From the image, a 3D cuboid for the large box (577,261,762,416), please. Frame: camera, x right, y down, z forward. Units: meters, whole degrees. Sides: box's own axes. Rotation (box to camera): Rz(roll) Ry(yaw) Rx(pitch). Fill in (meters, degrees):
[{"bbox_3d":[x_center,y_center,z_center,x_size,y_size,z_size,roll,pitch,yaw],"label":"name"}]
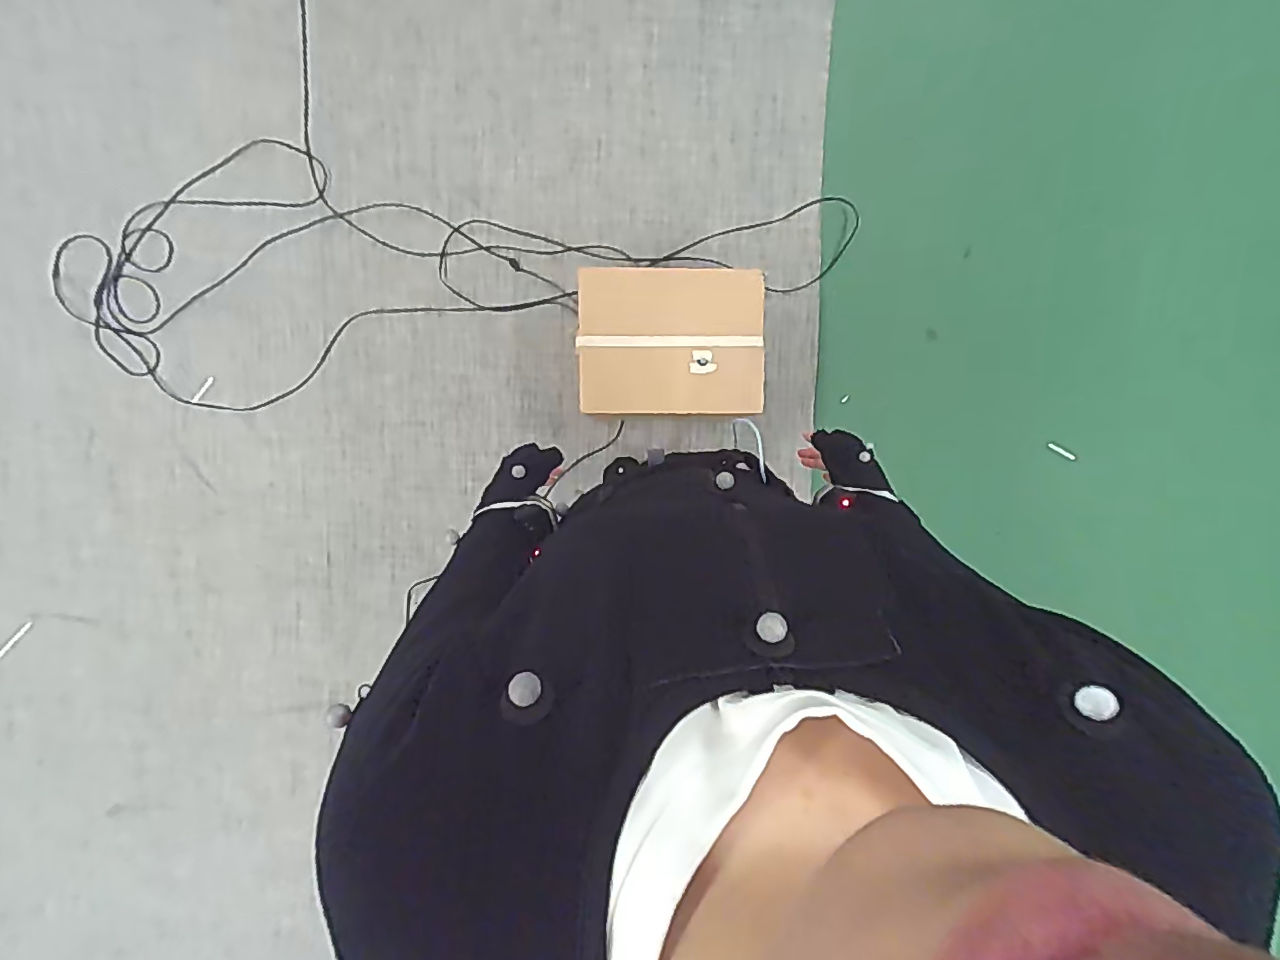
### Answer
[{"bbox_3d":[0.059,-0.323,1.315,0.408,0.320,0.320,0,94,-3],"label":"large box"}]
